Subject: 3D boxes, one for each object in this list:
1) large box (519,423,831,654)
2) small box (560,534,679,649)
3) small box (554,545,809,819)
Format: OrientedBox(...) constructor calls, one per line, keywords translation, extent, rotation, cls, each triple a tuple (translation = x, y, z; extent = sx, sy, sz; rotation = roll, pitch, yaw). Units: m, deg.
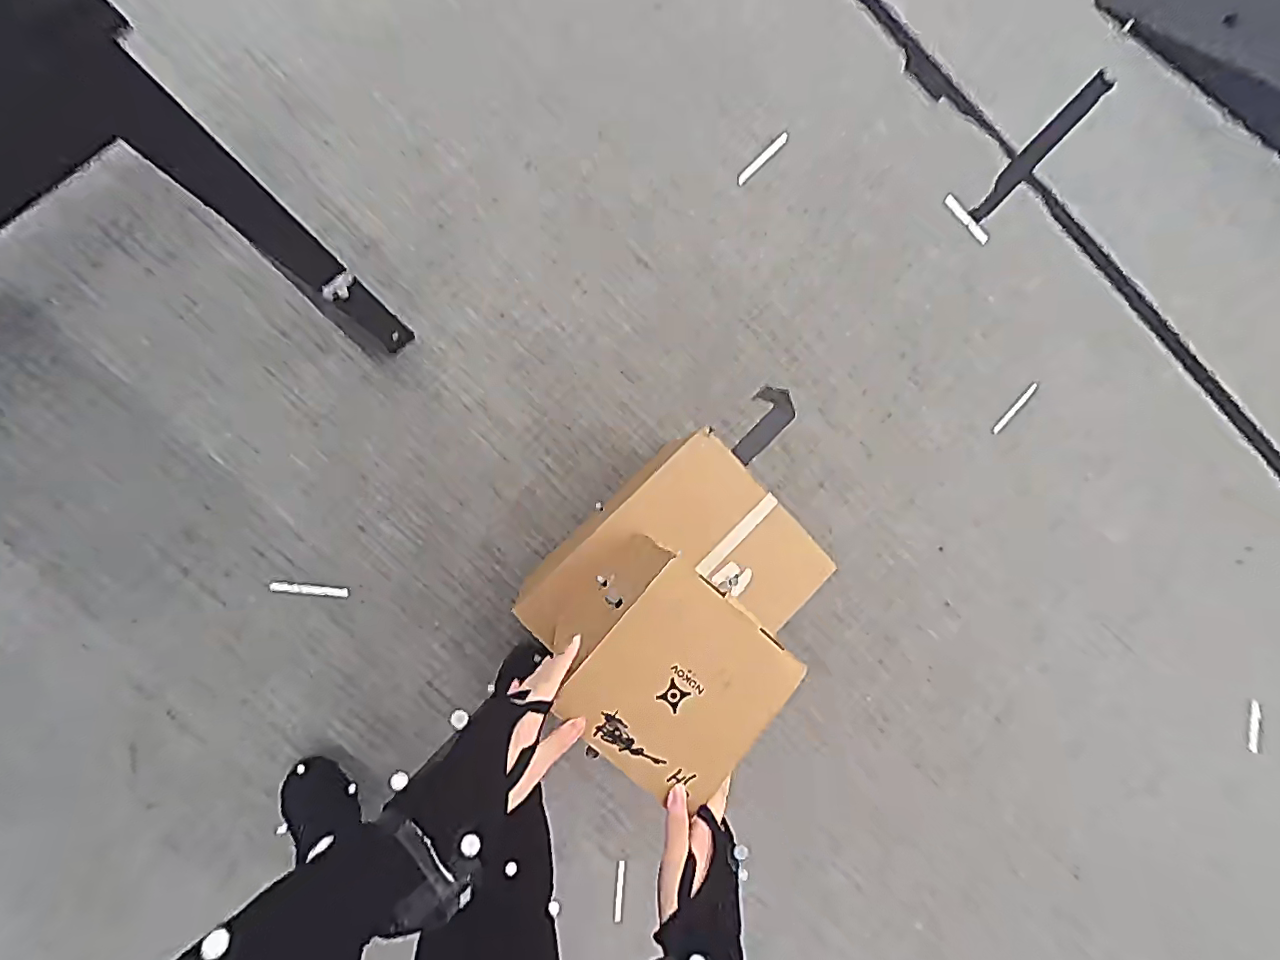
OrientedBox(translation=(0.042, 0.163, 0.968), extent=(0.408, 0.320, 0.320), rotation=(-44, 95, -7), cls="large box")
OrientedBox(translation=(0.011, 0.187, 0.716), extent=(0.179, 0.176, 0.168), rotation=(-45, 93, -6), cls="small box")
OrientedBox(translation=(0.029, 0.182, 0.554), extent=(0.168, 0.176, 0.179), rotation=(42, 83, -2), cls="small box")
